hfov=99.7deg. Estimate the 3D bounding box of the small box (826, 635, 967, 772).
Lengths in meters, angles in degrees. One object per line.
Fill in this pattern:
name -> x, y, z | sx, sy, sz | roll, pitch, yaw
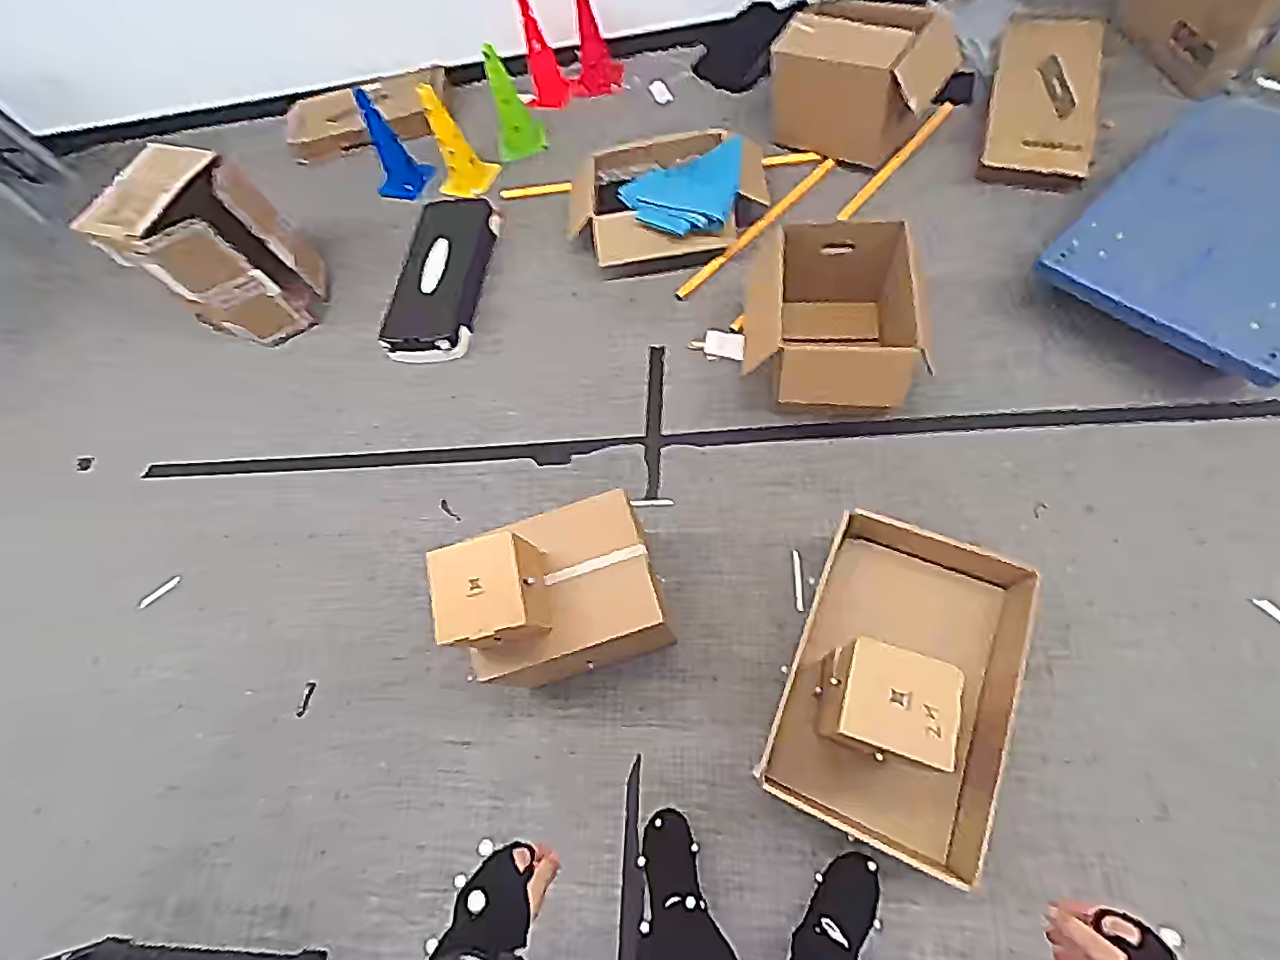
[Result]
small box -> 0.441, 0.394, 0.953 | 0.179, 0.176, 0.168 | 16, 68, 16
